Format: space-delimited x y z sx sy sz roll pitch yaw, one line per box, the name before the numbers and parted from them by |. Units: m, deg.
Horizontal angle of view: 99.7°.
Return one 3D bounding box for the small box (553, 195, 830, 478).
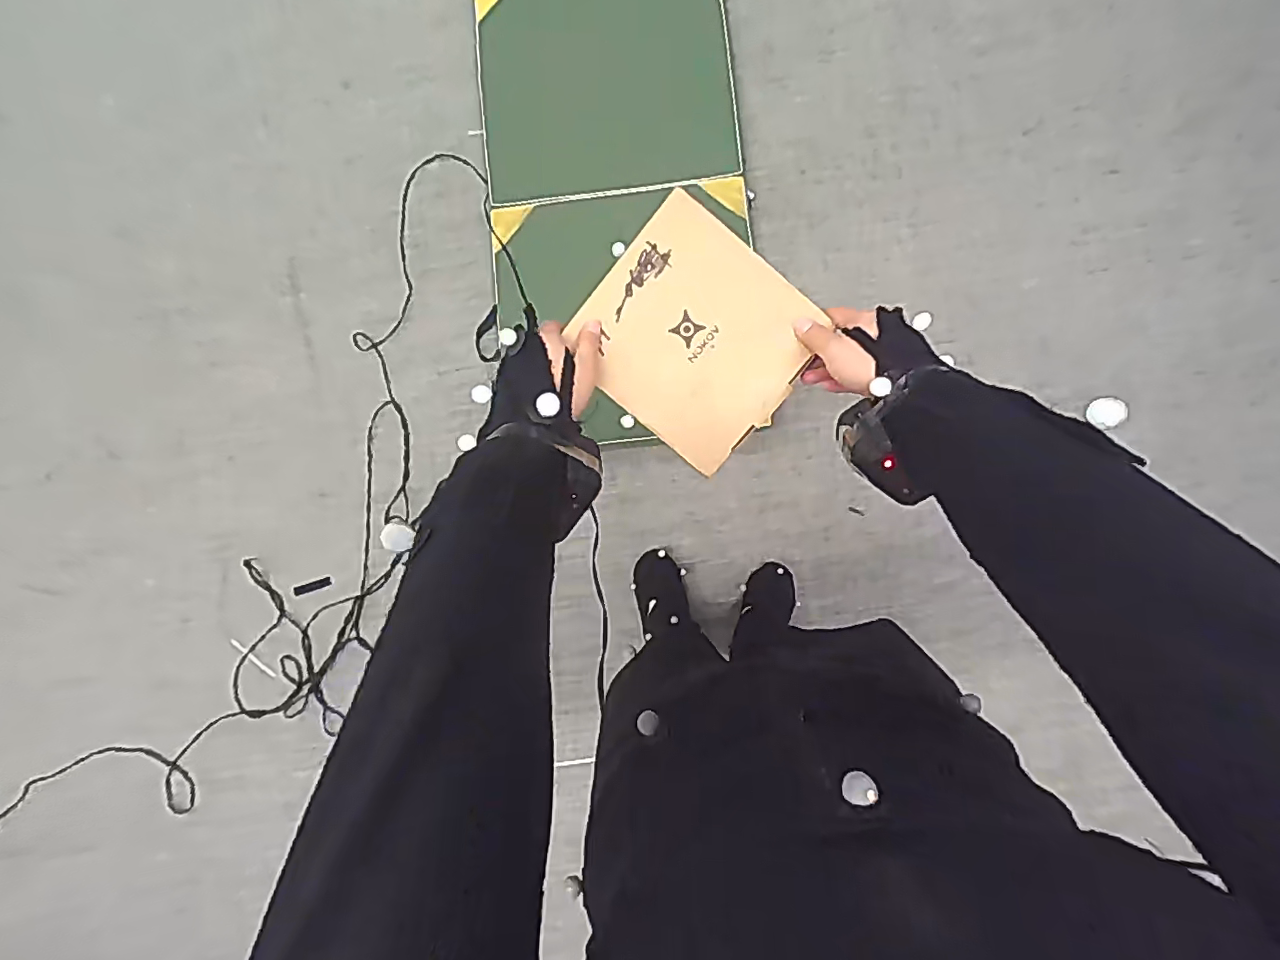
small box | 0.043 -0.127 0.528 0.179 0.176 0.168 40 95 -5
